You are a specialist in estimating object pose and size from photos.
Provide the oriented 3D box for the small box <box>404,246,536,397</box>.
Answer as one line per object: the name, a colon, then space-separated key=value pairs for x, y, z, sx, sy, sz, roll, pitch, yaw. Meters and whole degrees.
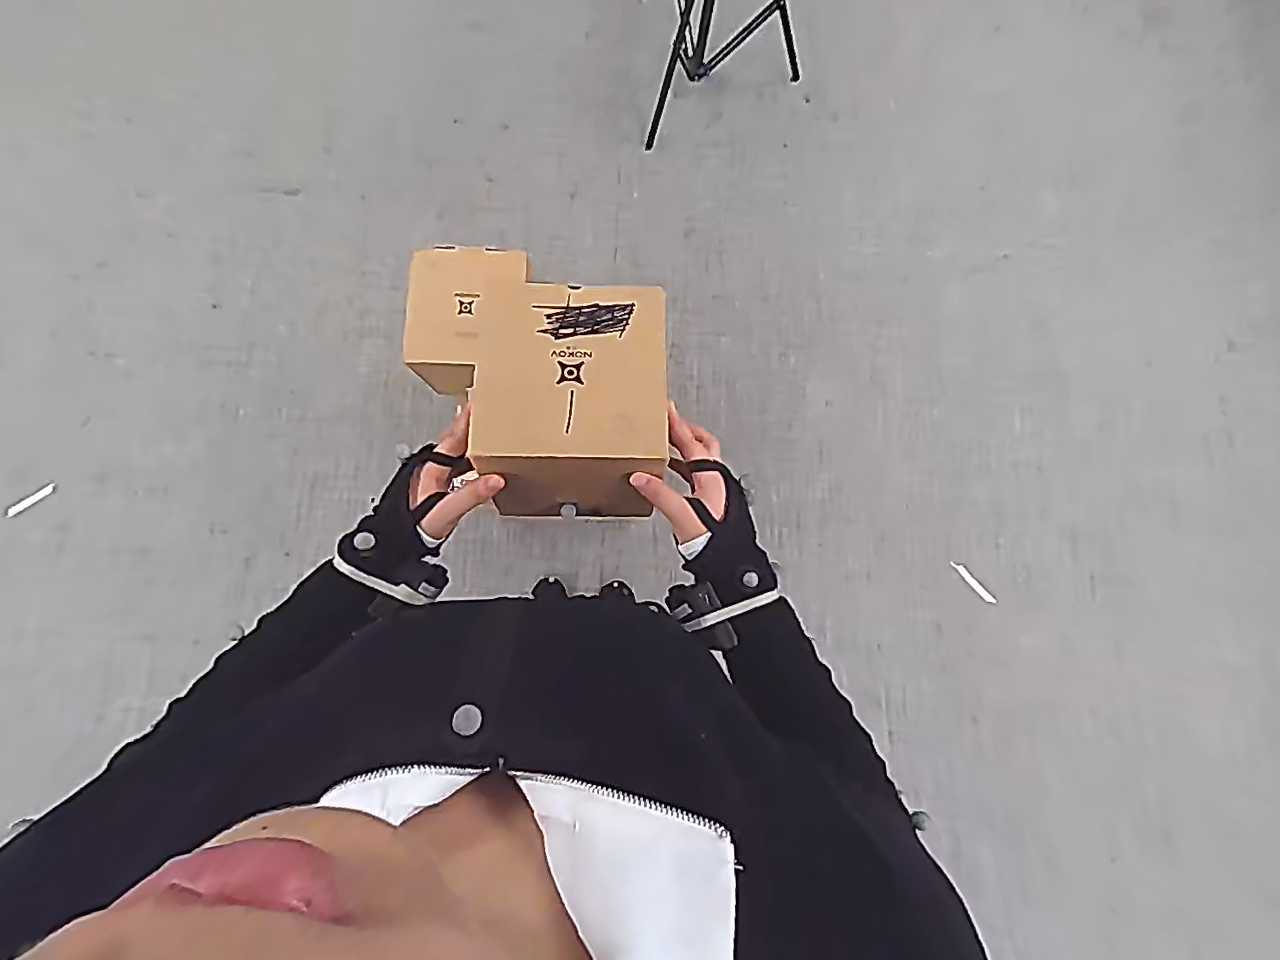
small box: x=-0.245 y=-0.234 z=0.837 sx=0.168 sy=0.176 sz=0.179 roll=1 pitch=83 yaw=-1

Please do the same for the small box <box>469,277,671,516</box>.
small box: x=-0.064 y=-0.073 z=0.540 sx=0.168 sy=0.176 sz=0.179 roll=0 pitch=70 yaw=-4
